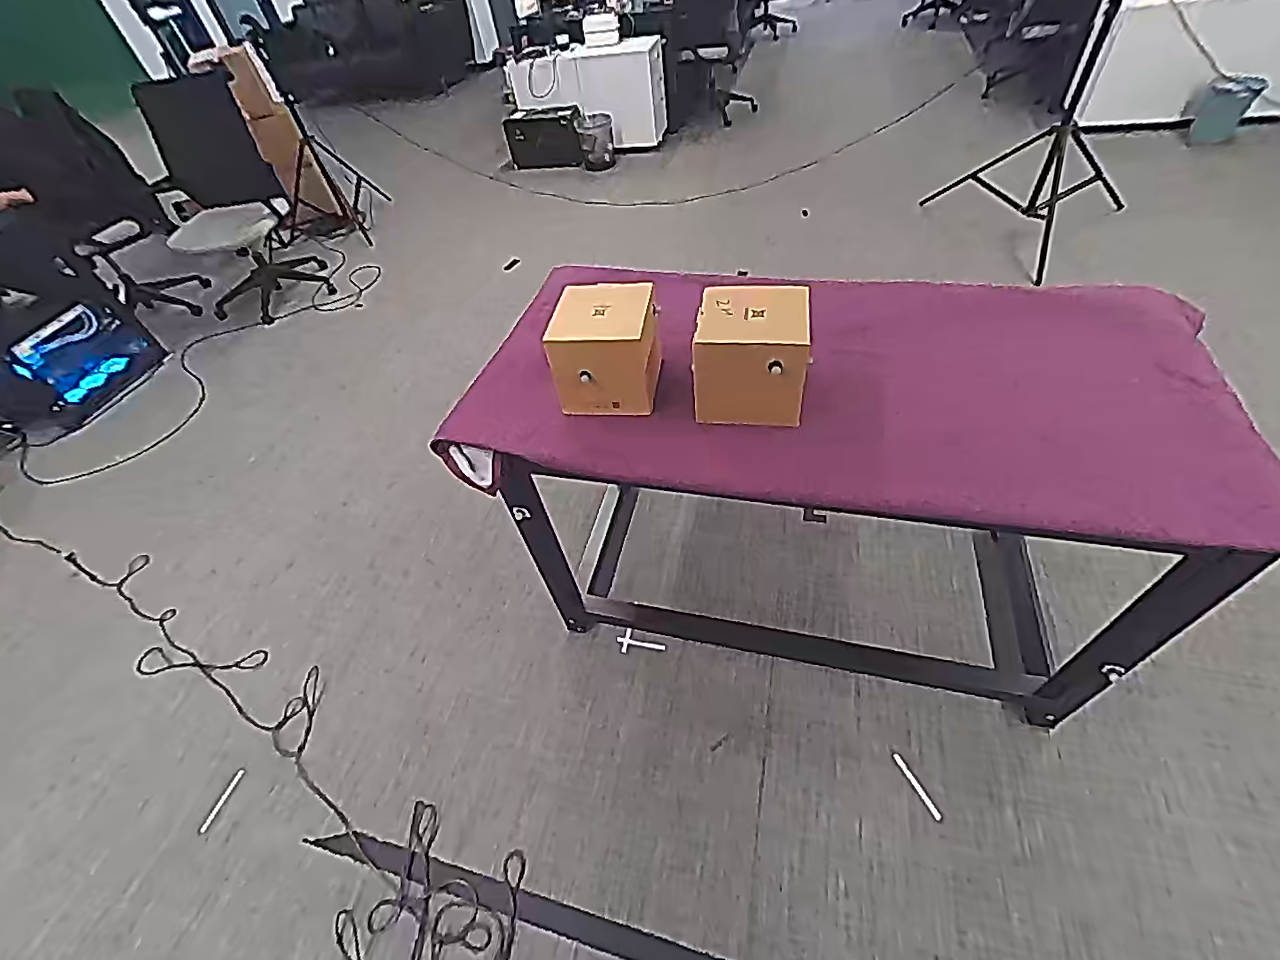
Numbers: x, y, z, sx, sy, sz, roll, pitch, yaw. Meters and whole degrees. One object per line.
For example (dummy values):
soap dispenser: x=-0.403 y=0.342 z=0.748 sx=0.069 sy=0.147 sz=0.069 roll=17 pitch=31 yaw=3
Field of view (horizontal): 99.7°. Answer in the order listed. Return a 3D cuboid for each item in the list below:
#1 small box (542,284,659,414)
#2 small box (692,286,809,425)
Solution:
small box: x=-0.060 y=-0.234 z=0.986 sx=0.168 sy=0.176 sz=0.179 roll=1 pitch=48 yaw=10
small box: x=0.186 y=-0.210 z=0.920 sx=0.179 sy=0.176 sz=0.168 roll=4 pitch=48 yaw=12
